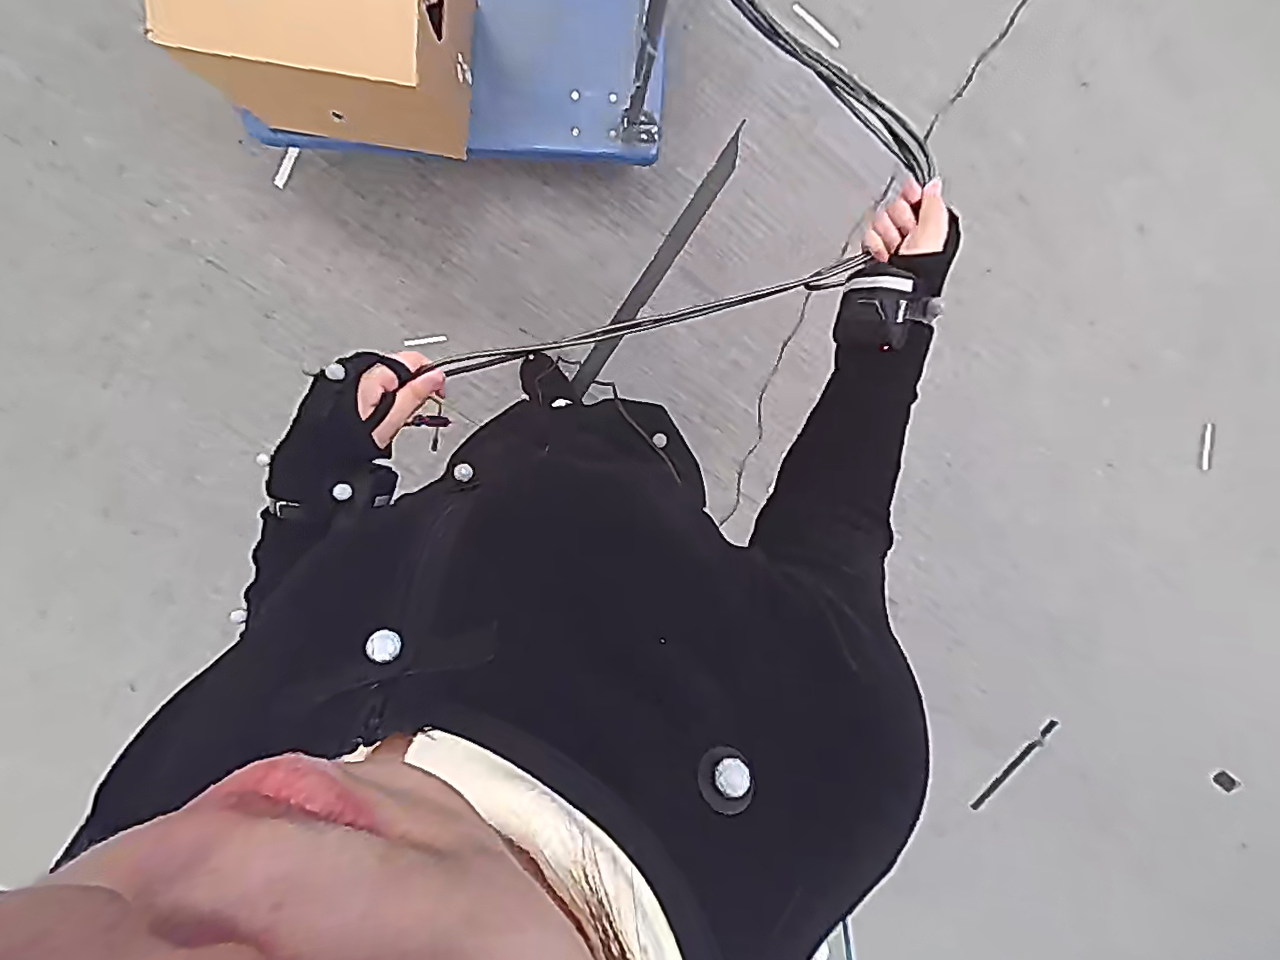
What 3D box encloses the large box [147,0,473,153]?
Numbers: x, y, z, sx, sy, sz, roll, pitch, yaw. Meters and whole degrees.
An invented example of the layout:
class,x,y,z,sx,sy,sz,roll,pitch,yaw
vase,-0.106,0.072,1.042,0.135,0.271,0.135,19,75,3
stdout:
class,x,y,z,sx,sy,sz,roll,pitch,yaw
large box,-0.534,-0.816,0.948,0.408,0.320,0.320,7,101,-4
